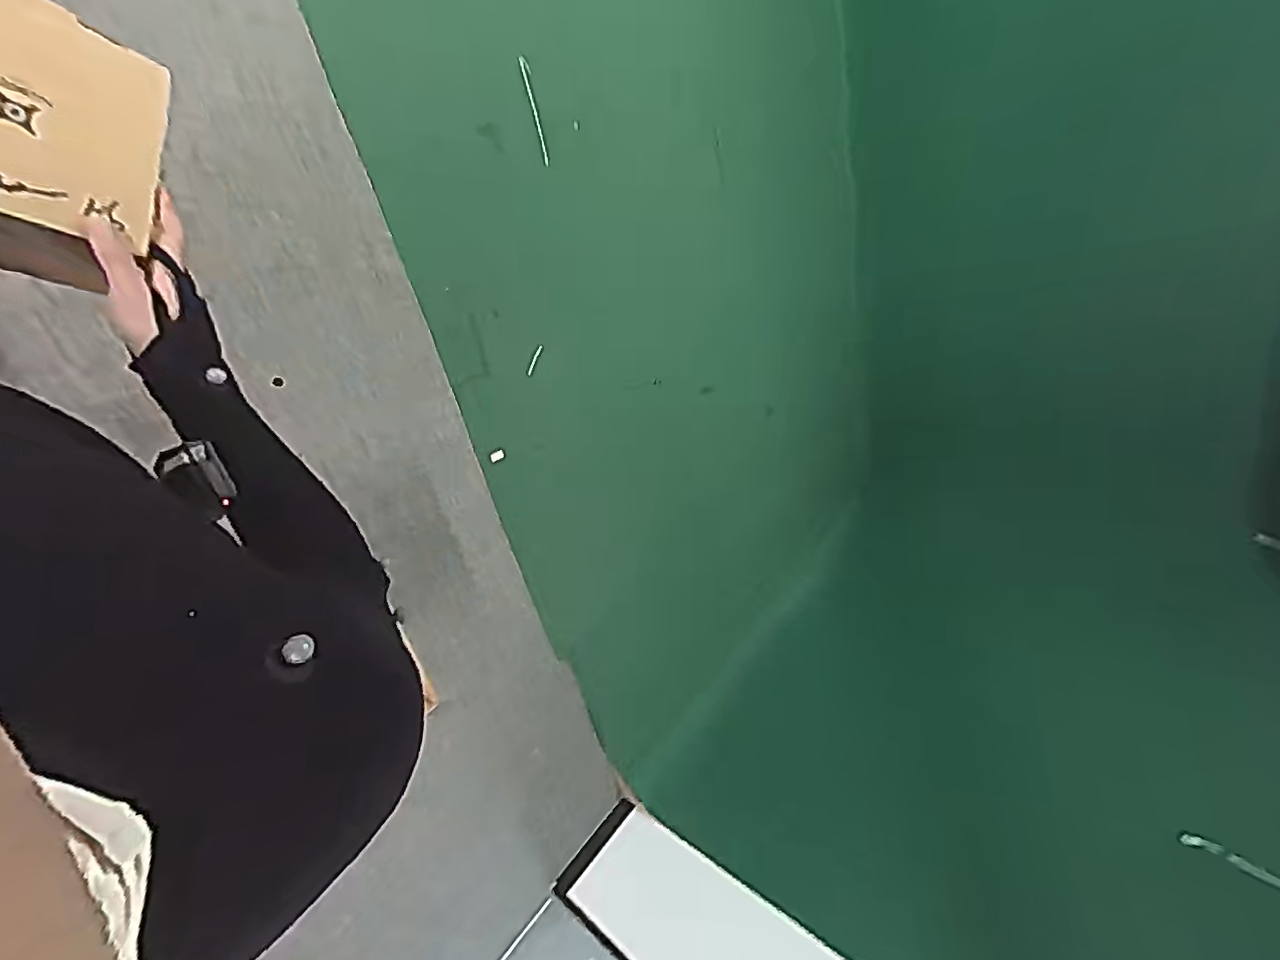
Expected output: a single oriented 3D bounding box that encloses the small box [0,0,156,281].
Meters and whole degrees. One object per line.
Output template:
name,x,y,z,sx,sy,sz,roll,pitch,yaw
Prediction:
small box,-0.539,-0.293,0.448,0.168,0.176,0.179,9,84,-52
